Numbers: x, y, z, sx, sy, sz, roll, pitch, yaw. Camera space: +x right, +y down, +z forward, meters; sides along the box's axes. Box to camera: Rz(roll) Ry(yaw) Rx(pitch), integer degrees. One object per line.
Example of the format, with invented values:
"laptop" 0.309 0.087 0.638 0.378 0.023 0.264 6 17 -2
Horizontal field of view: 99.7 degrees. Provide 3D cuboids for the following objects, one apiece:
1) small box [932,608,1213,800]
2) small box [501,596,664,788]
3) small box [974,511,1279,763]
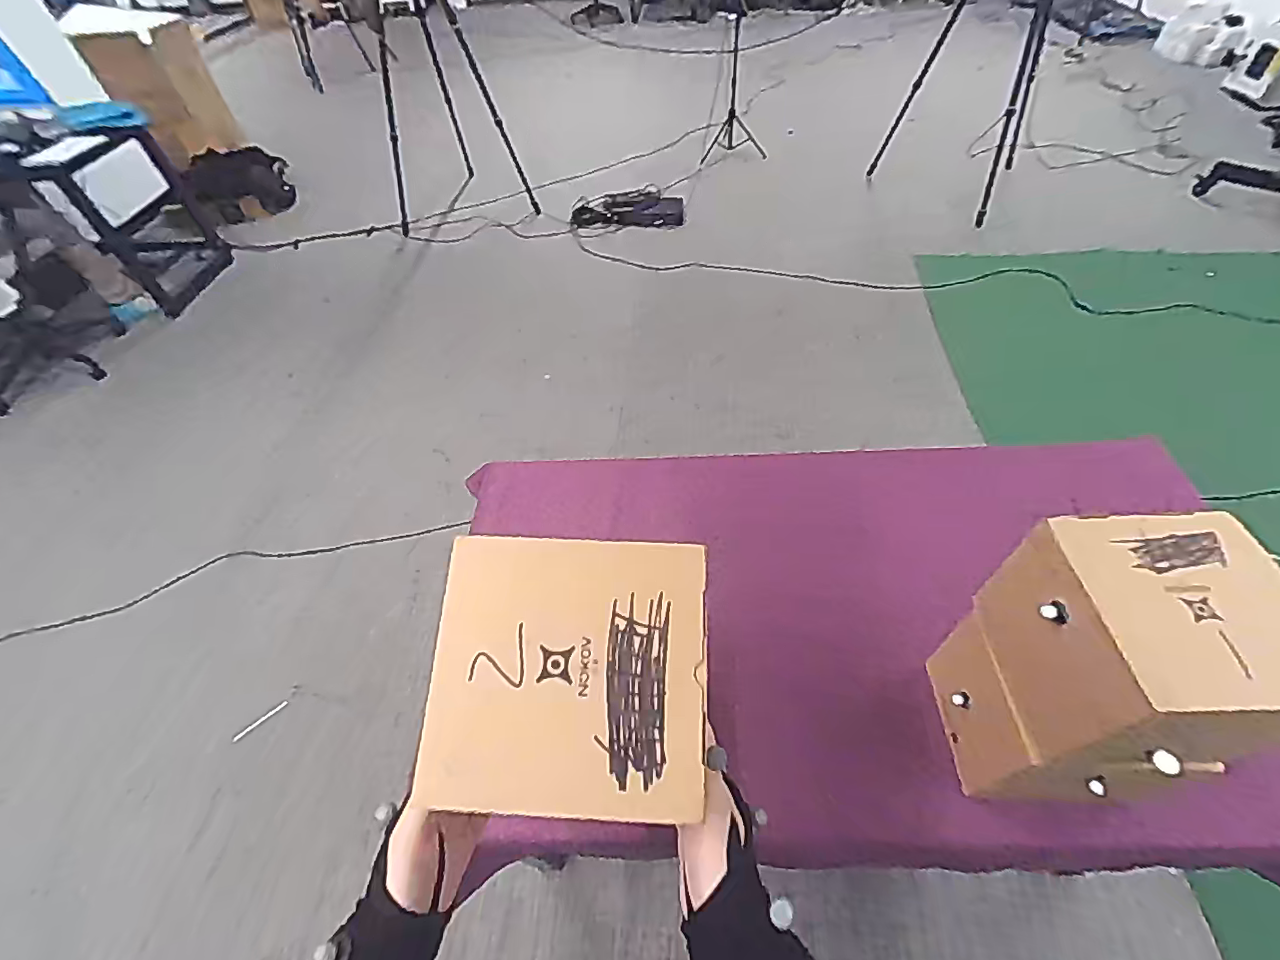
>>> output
"small box" 0.463 0.260 0.625 0.179 0.176 0.168 0 50 5
"small box" -0.057 0.262 0.669 0.168 0.176 0.179 0 51 4
"small box" 0.452 0.148 0.505 0.168 0.176 0.179 -2 51 3
